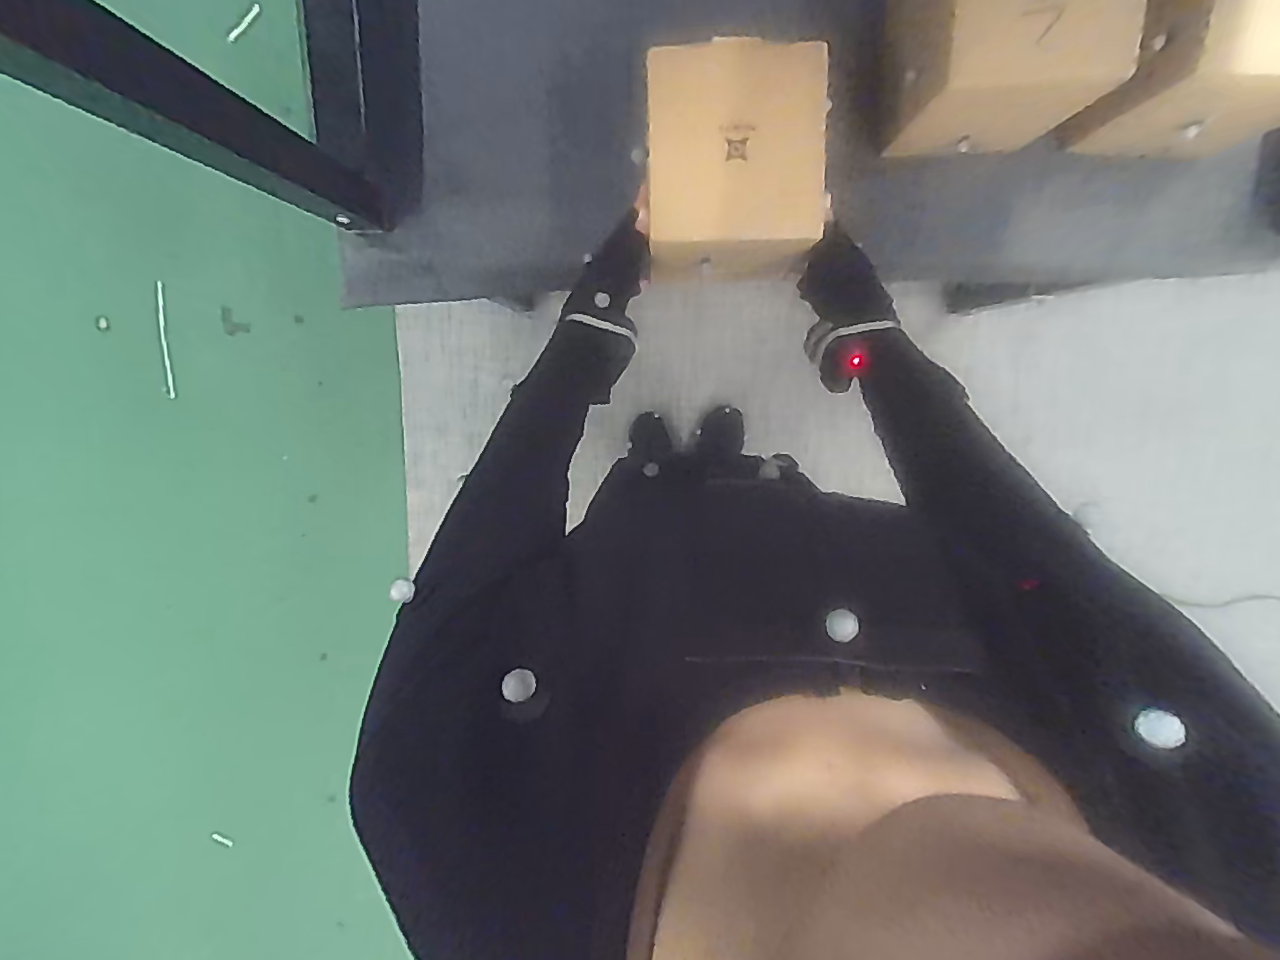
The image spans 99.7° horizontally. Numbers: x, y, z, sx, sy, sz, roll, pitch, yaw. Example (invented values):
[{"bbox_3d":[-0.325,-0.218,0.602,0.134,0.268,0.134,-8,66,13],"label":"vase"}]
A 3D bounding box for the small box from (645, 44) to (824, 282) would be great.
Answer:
[{"bbox_3d":[0.089,-0.320,0.585,0.168,0.176,0.179,-1,96,1],"label":"small box"}]
